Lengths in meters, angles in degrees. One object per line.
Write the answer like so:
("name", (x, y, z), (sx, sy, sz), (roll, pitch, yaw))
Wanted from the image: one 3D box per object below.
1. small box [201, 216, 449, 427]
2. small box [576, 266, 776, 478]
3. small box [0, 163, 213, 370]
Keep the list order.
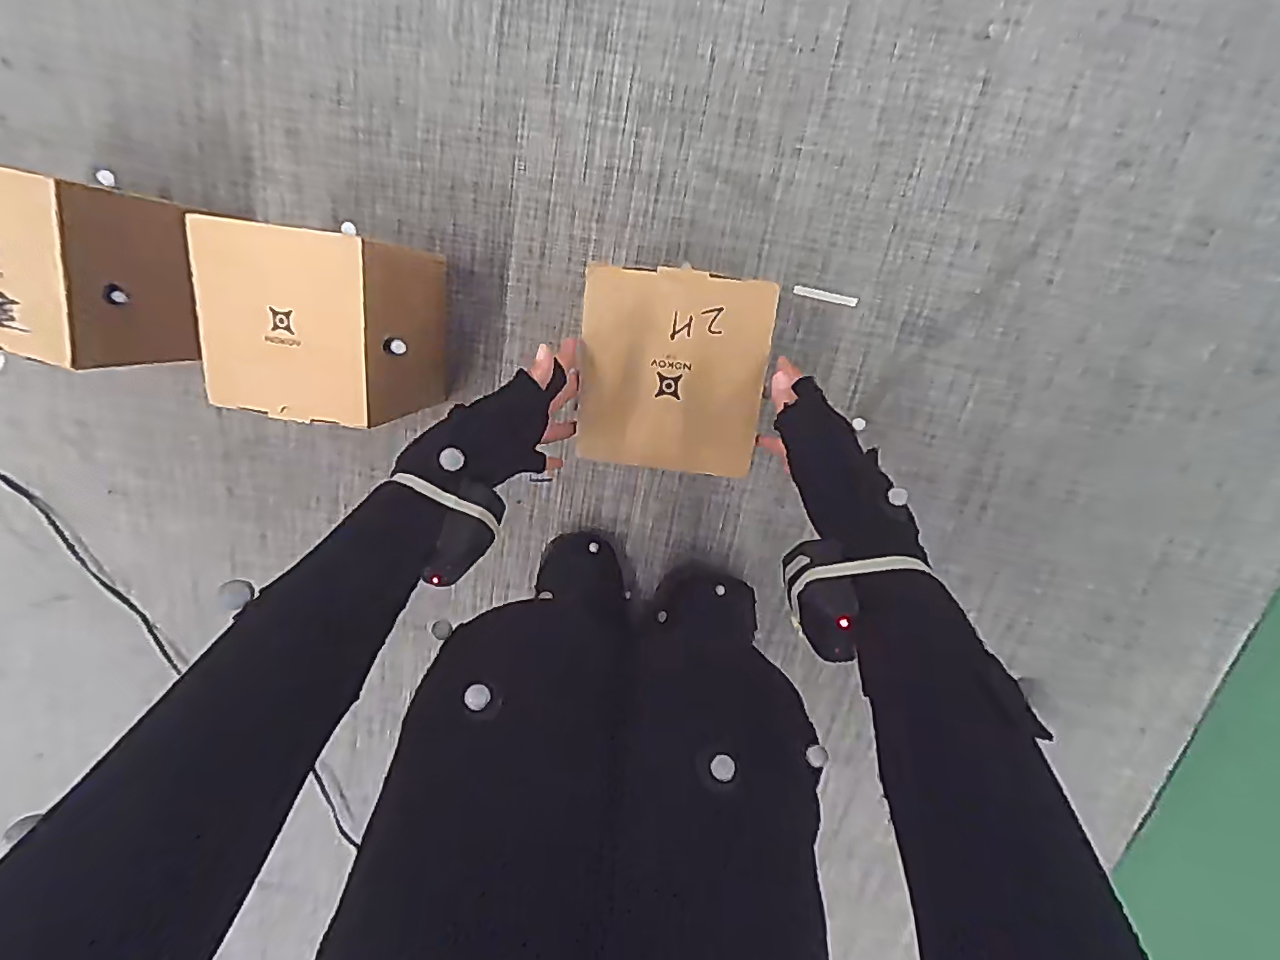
("small box", (-0.321, -0.170, 0.587), (0.168, 0.176, 0.179), (9, 109, 3))
("small box", (0.035, -0.118, 0.565), (0.168, 0.176, 0.179), (7, 108, 3))
("small box", (-0.604, -0.232, 0.595), (0.168, 0.176, 0.179), (14, 107, 1))
